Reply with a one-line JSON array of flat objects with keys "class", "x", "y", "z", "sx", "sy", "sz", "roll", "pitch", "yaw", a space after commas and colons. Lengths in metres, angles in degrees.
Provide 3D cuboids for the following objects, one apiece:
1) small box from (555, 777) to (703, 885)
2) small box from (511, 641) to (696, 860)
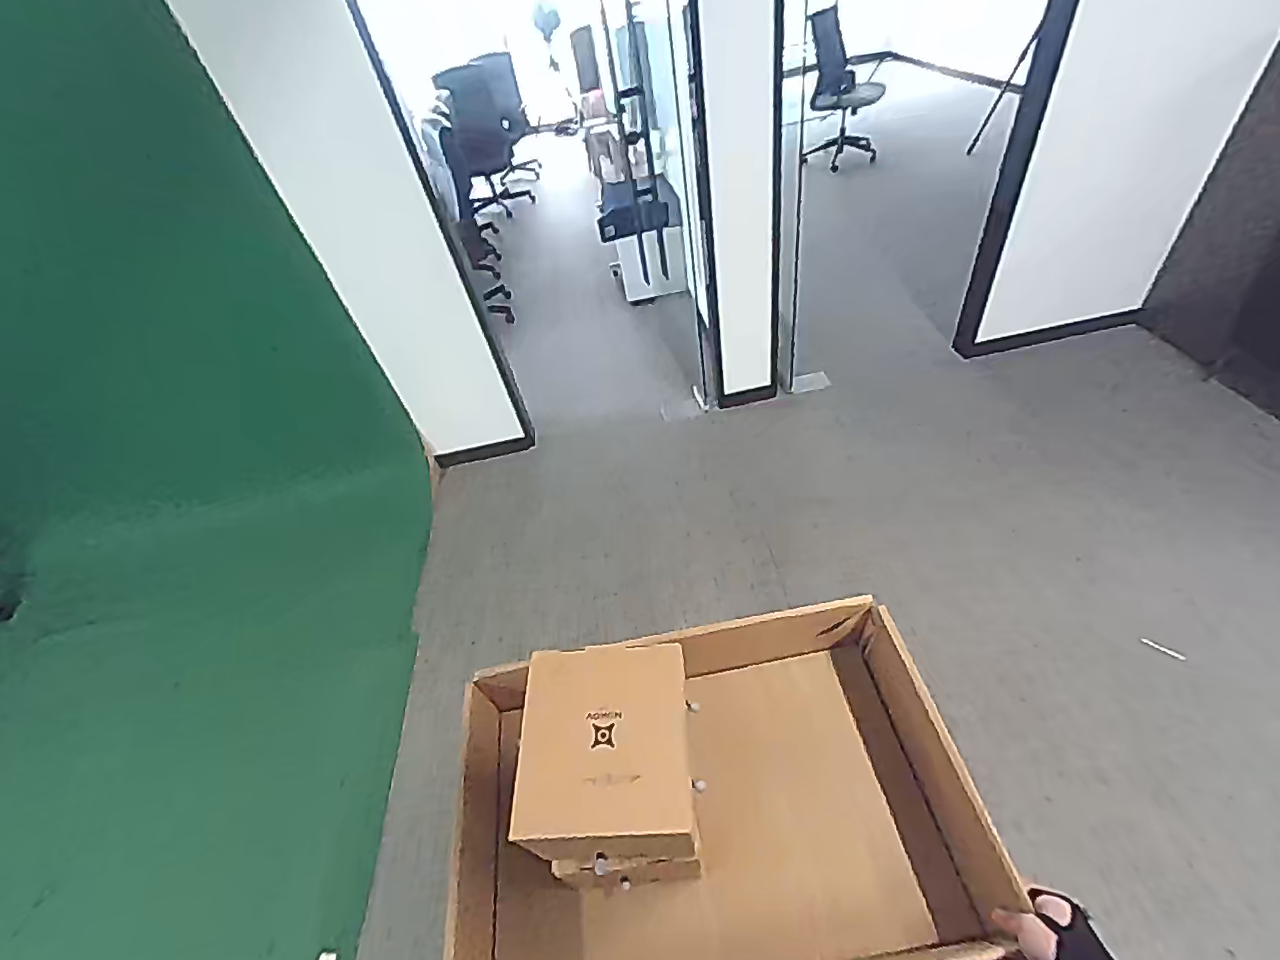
[{"class": "small box", "x": -0.012, "y": 0.407, "z": 0.705, "sx": 0.168, "sy": 0.176, "sz": 0.179, "roll": -6, "pitch": 49, "yaw": 1}, {"class": "small box", "x": -0.027, "y": 0.295, "z": 0.587, "sx": 0.168, "sy": 0.176, "sz": 0.179, "roll": -4, "pitch": 49, "yaw": 4}]
